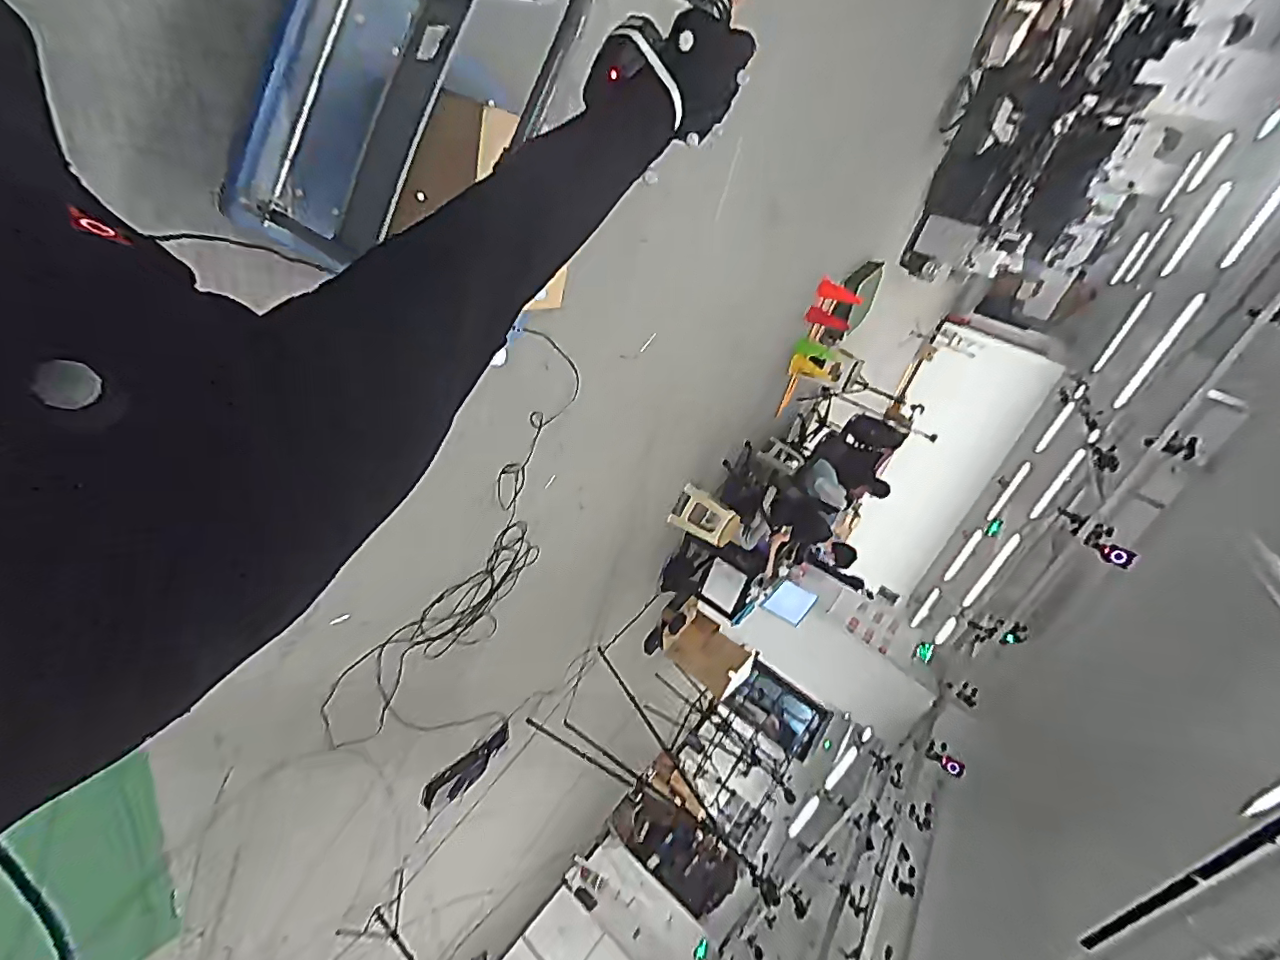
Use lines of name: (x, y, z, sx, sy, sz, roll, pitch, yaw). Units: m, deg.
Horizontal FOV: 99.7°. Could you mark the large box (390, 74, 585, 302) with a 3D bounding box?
large box: (-0.378, -0.679, 1.307, 0.320, 0.320, 0.408, -25, 139, -50)
